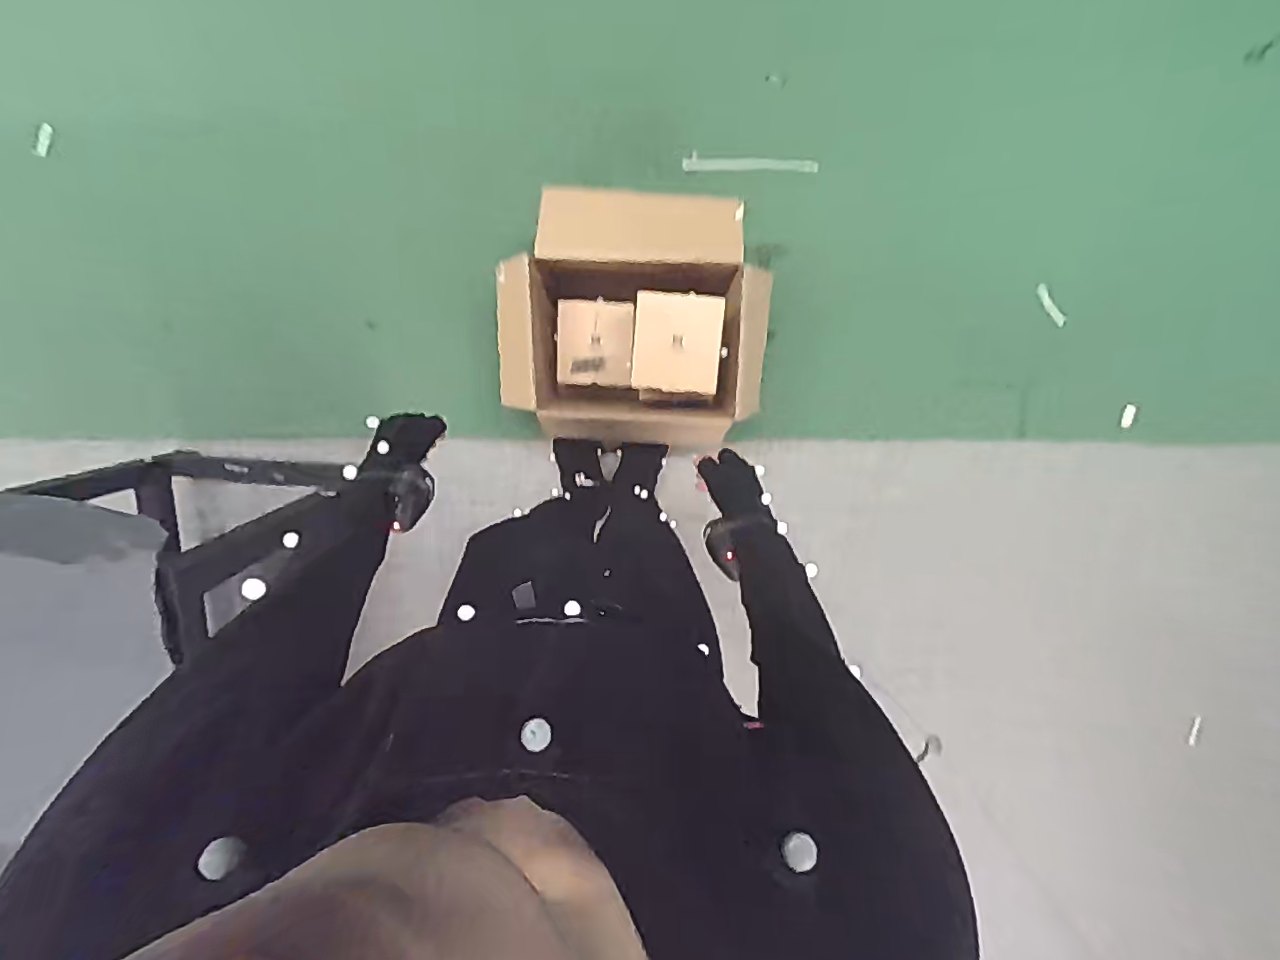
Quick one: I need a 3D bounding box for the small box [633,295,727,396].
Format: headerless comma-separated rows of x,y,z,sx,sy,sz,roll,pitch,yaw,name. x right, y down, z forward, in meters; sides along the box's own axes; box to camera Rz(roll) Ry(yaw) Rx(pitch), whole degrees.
0.077,-0.268,1.099,0.168,0.176,0.179,5,101,2,small box
